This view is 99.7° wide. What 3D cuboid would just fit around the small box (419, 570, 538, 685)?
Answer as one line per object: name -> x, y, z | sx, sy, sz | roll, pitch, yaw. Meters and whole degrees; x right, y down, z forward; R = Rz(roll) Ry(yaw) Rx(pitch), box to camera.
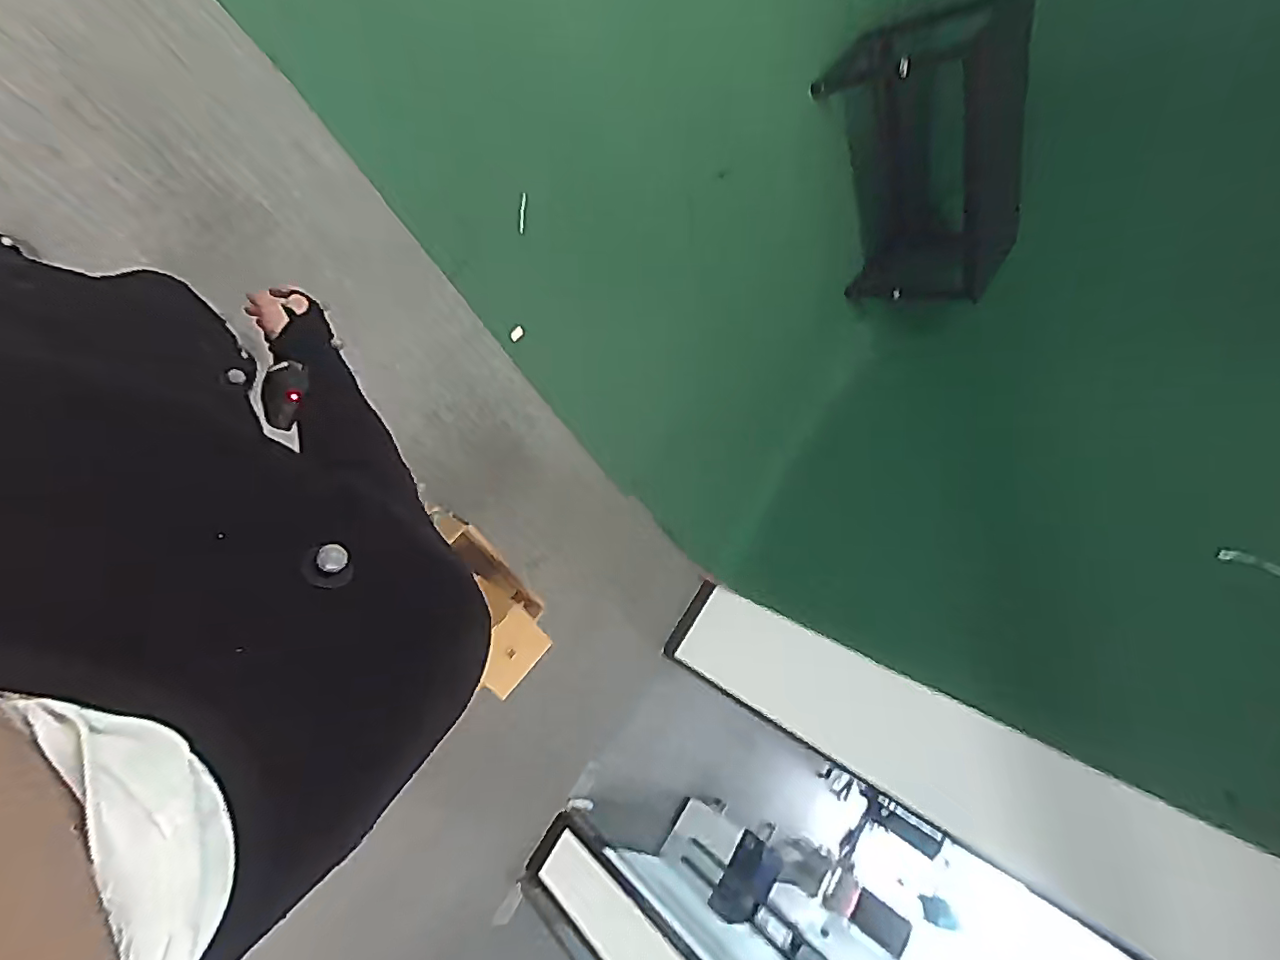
small box -> -0.381, 0.341, 1.276 | 0.168, 0.176, 0.179 | -47, 136, -23
